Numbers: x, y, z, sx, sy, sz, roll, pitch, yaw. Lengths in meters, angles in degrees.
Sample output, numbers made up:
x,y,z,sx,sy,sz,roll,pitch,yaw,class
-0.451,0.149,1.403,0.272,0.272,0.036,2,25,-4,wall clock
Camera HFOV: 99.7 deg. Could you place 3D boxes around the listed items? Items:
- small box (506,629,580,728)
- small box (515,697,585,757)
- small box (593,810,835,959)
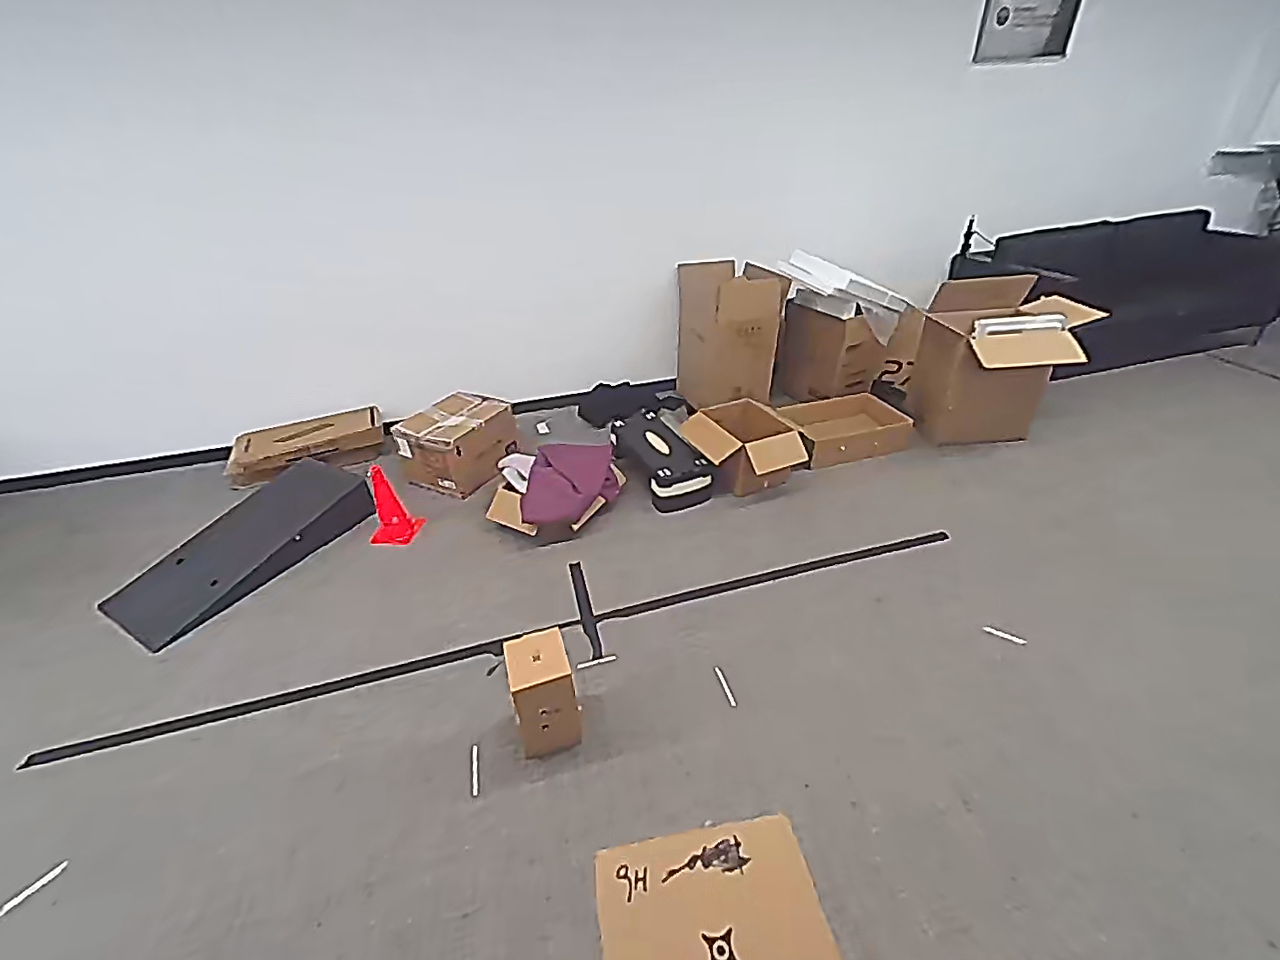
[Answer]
x,y,z,sx,sy,sz,roll,pitch,yaw,class
-0.276,0.565,1.542,0.168,0.176,0.179,-15,36,-14,small box
-0.273,0.700,1.632,0.179,0.176,0.168,-12,34,-13,small box
0.058,0.402,0.428,0.168,0.176,0.179,-7,37,-7,small box
